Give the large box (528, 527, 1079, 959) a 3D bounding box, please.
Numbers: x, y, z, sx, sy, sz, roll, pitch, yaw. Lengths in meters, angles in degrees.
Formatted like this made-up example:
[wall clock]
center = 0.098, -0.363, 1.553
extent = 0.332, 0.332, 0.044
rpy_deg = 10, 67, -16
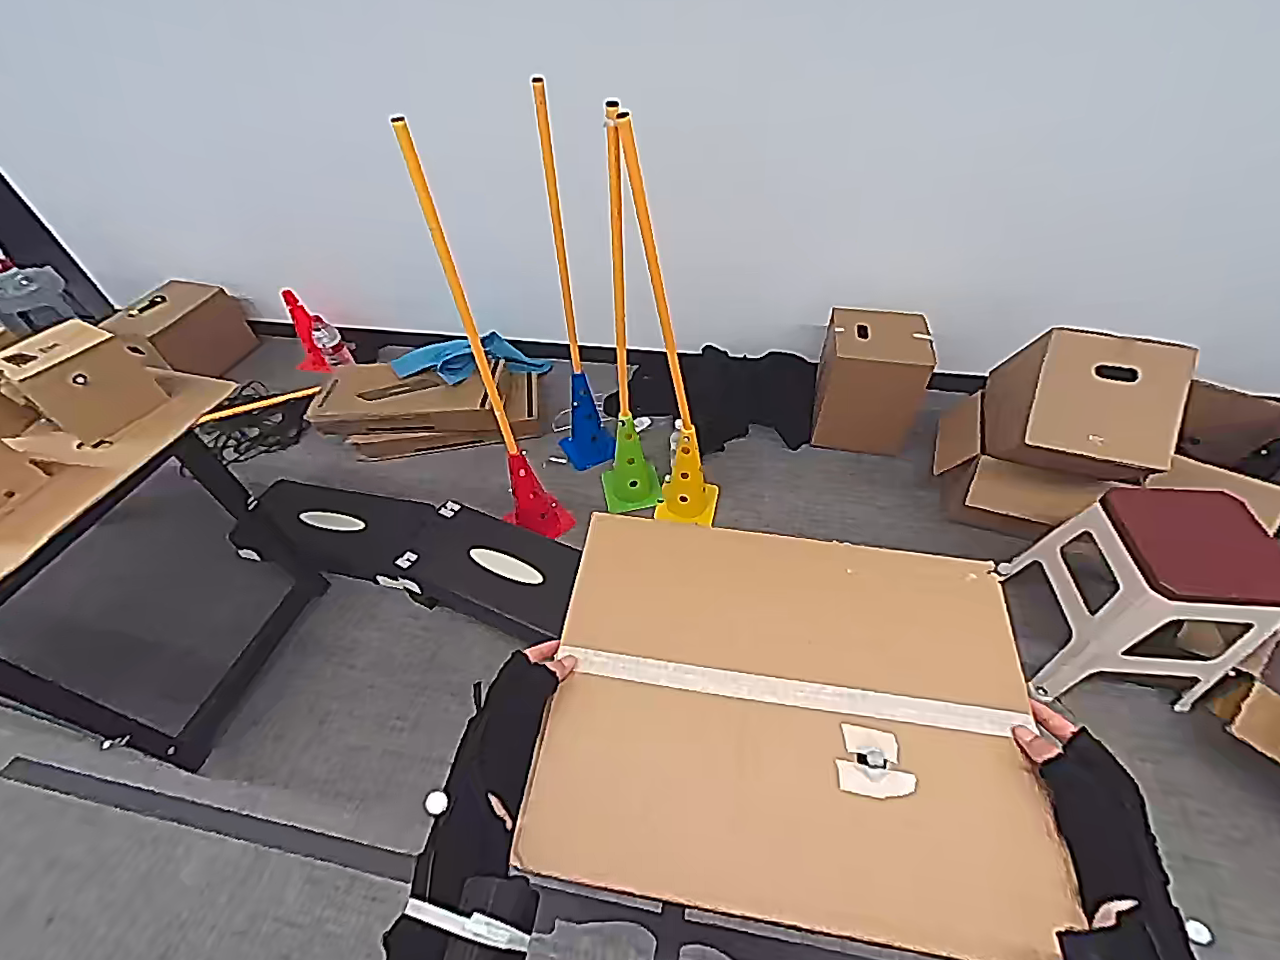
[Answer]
[large box]
center = 0.129, 0.281, 0.595
extent = 0.408, 0.320, 0.320
rpy_deg = 7, 55, 5
